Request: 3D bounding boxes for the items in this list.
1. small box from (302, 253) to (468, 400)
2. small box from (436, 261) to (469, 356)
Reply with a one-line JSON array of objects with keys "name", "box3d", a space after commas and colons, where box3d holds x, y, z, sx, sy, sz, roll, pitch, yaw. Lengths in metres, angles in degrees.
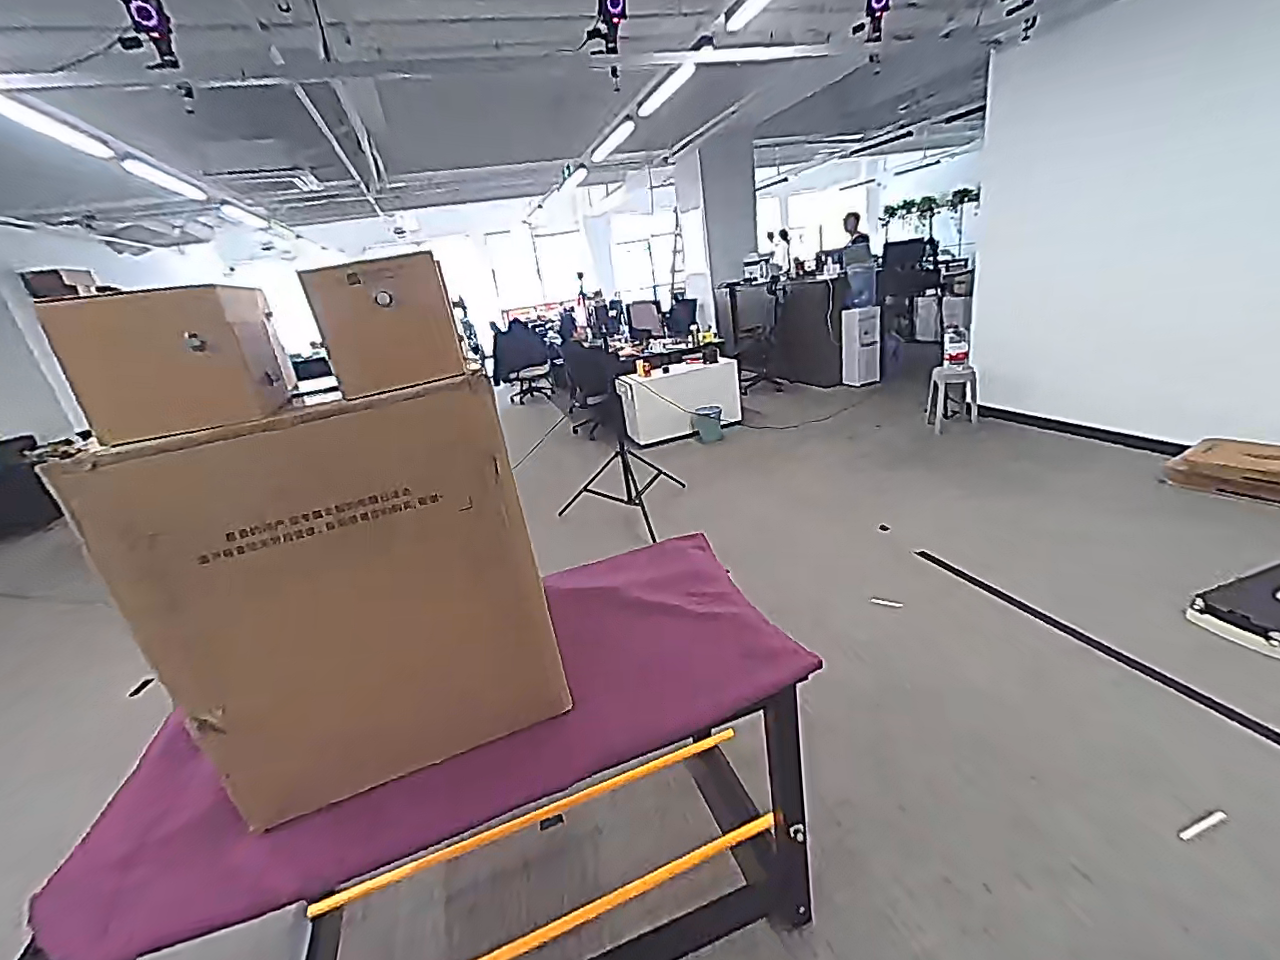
[{"name": "small box", "box3d": [-0.362, -0.228, 0.787, 0.168, 0.176, 0.179, -17, 22, -17]}, {"name": "small box", "box3d": [-0.419, -0.293, 0.985, 0.179, 0.176, 0.168, -15, 21, -11]}]
